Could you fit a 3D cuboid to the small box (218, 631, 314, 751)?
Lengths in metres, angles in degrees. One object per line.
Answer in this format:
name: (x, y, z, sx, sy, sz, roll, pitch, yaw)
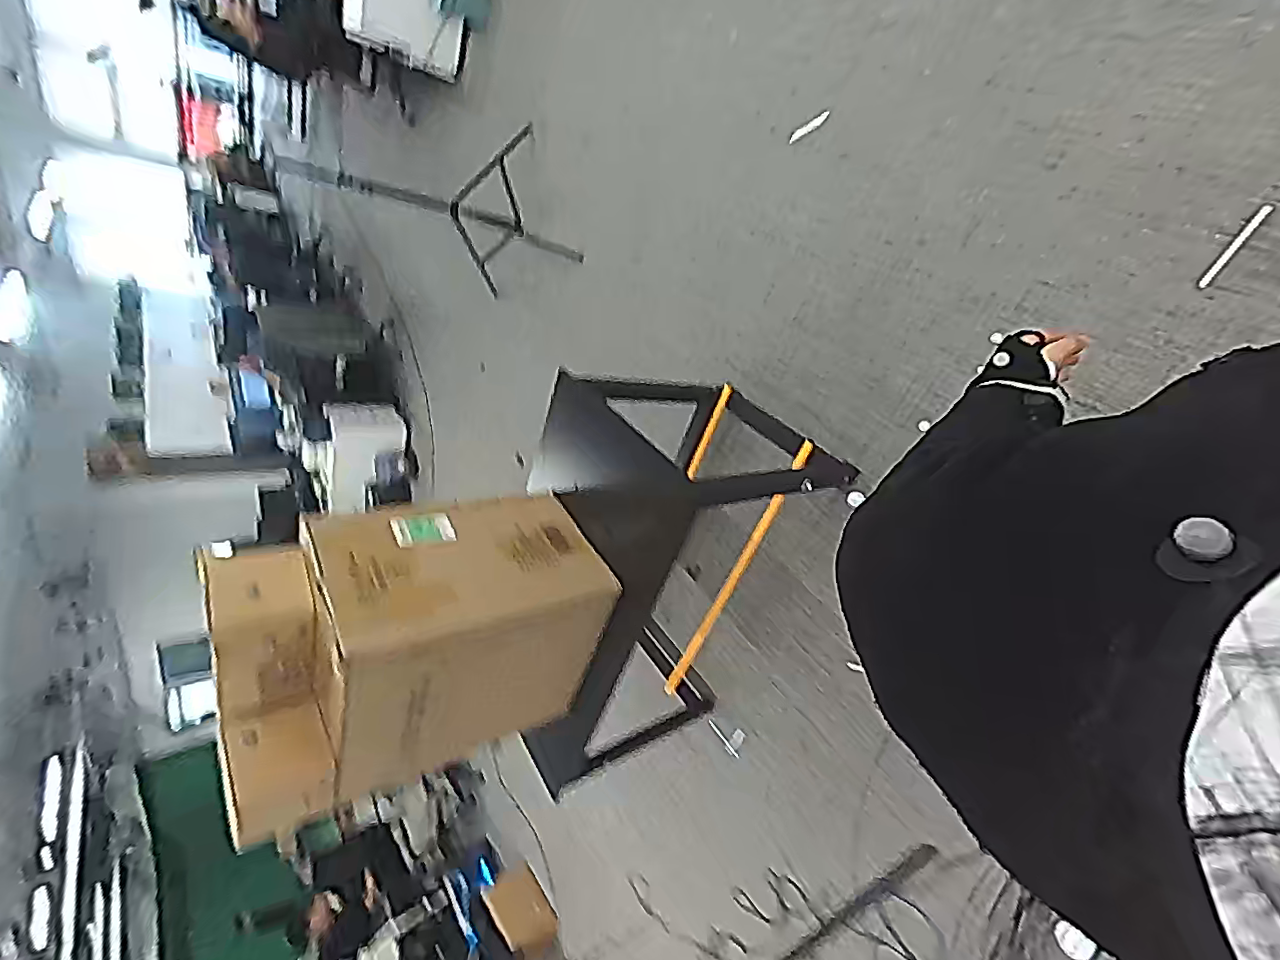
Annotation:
small box: (-0.863, 0.481, 1.249, 0.168, 0.176, 0.179, 47, 127, 37)
